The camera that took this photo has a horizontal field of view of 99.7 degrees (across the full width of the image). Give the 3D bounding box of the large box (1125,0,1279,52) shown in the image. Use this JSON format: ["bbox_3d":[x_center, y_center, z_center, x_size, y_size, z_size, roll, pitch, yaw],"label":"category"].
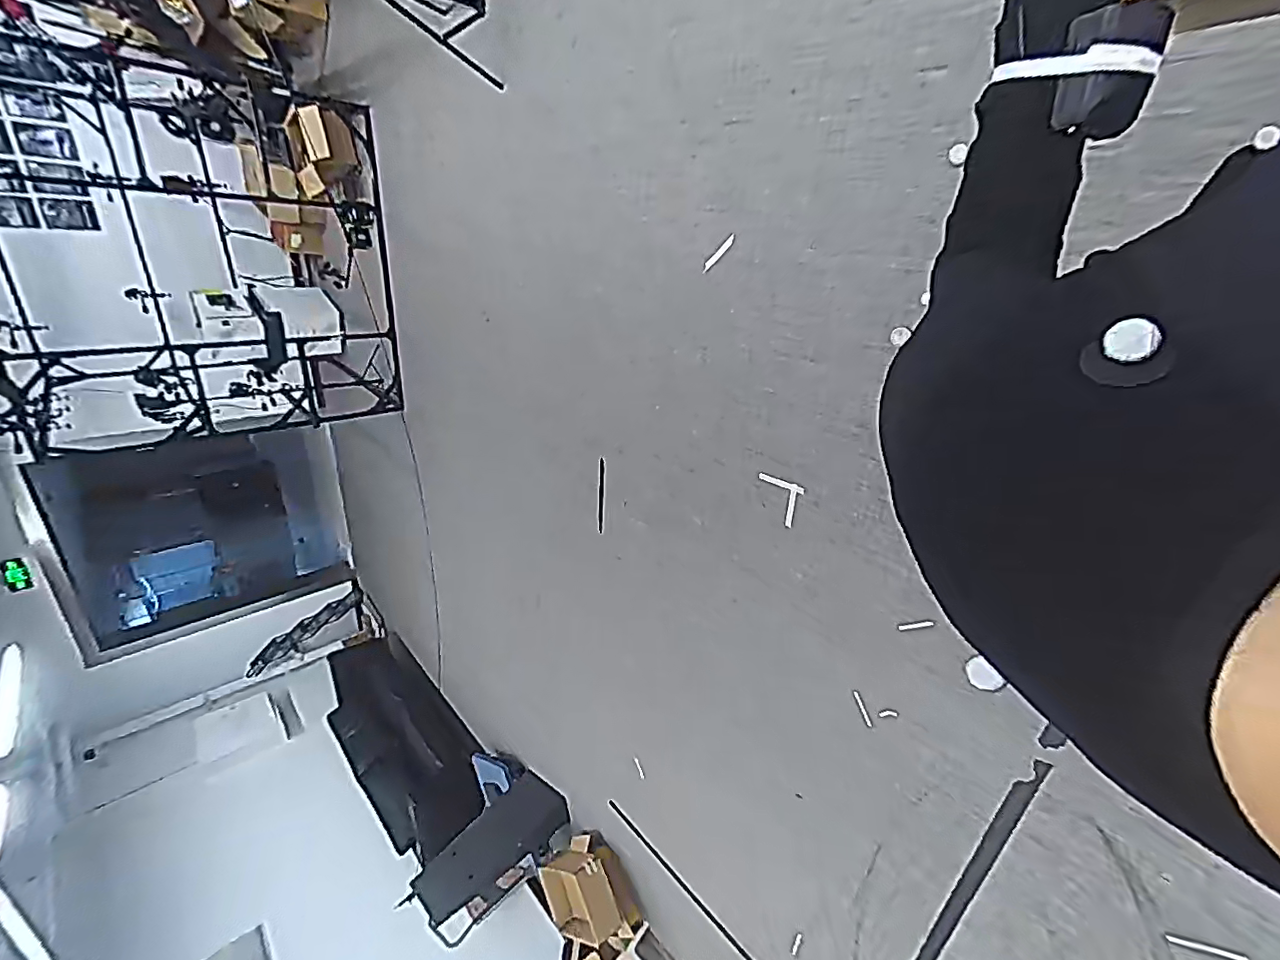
[{"bbox_3d":[0.525,-0.441,0.238,0.408,0.320,0.320,17,128,40],"label":"large box"}]
